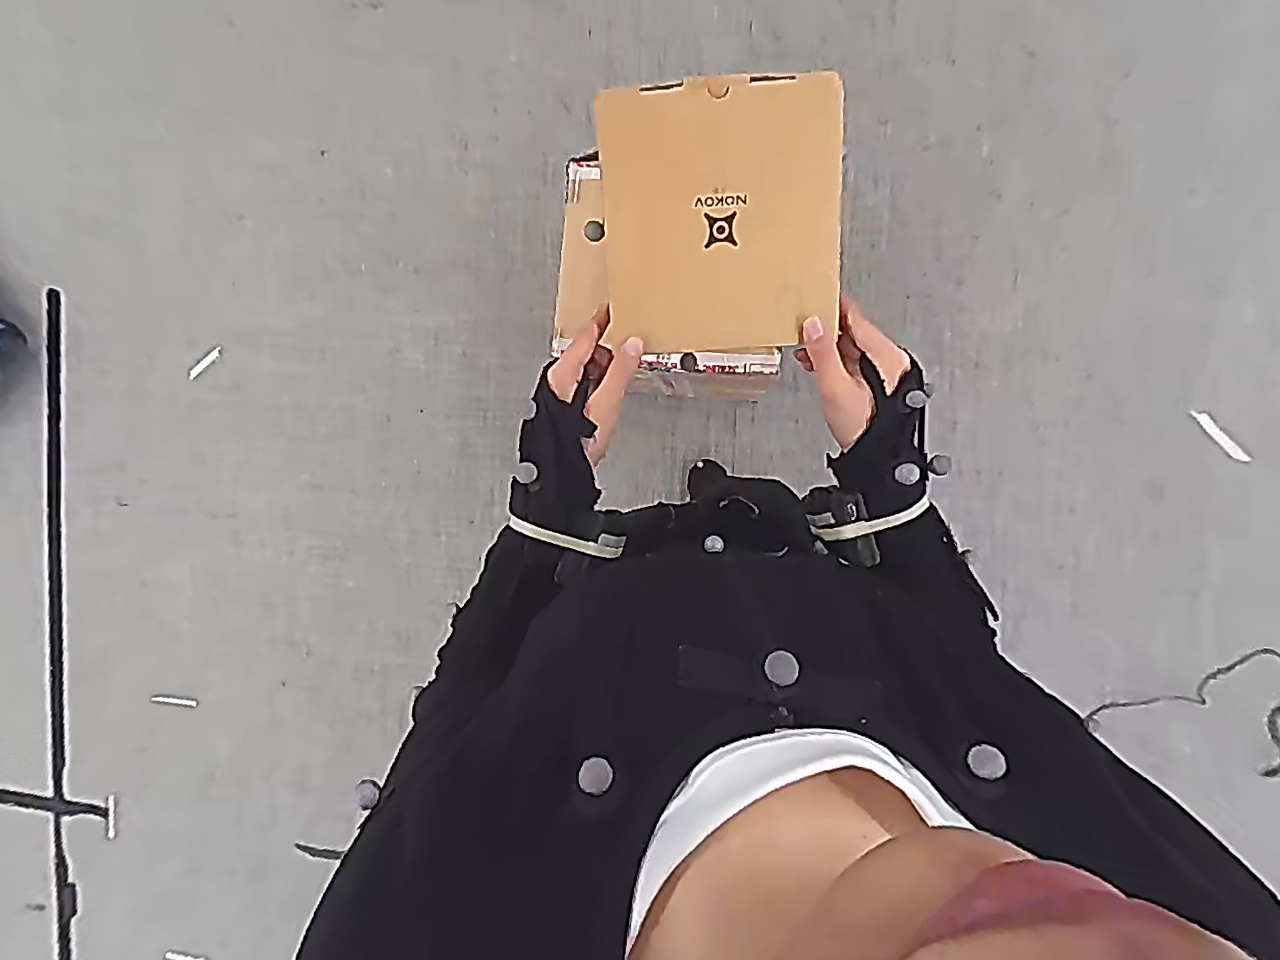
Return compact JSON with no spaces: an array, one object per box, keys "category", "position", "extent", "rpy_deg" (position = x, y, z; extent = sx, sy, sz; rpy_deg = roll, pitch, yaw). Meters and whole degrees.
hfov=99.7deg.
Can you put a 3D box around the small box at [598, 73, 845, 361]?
[{"category":"small box","position":[0.061,-0.196,0.454],"extent":[0.168,0.176,0.179],"rpy_deg":[-4,103,3]}]
